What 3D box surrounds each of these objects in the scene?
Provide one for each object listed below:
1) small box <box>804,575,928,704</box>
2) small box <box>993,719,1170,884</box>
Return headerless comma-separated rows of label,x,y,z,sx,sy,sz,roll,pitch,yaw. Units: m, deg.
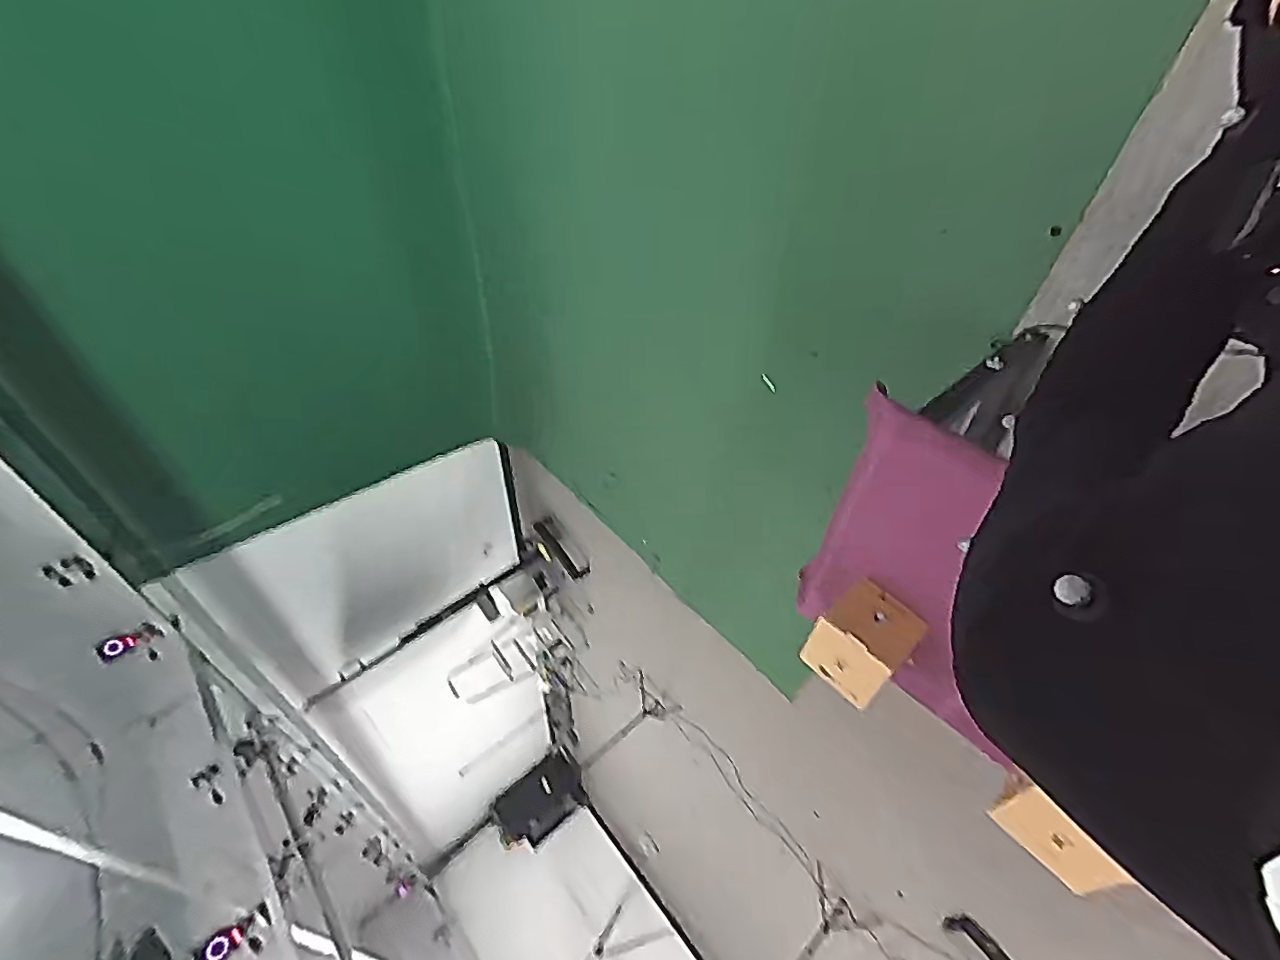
small box,0.498,0.343,1.188,0.168,0.176,0.179,39,141,31
small box,0.784,0.564,0.961,0.168,0.176,0.179,41,145,30
